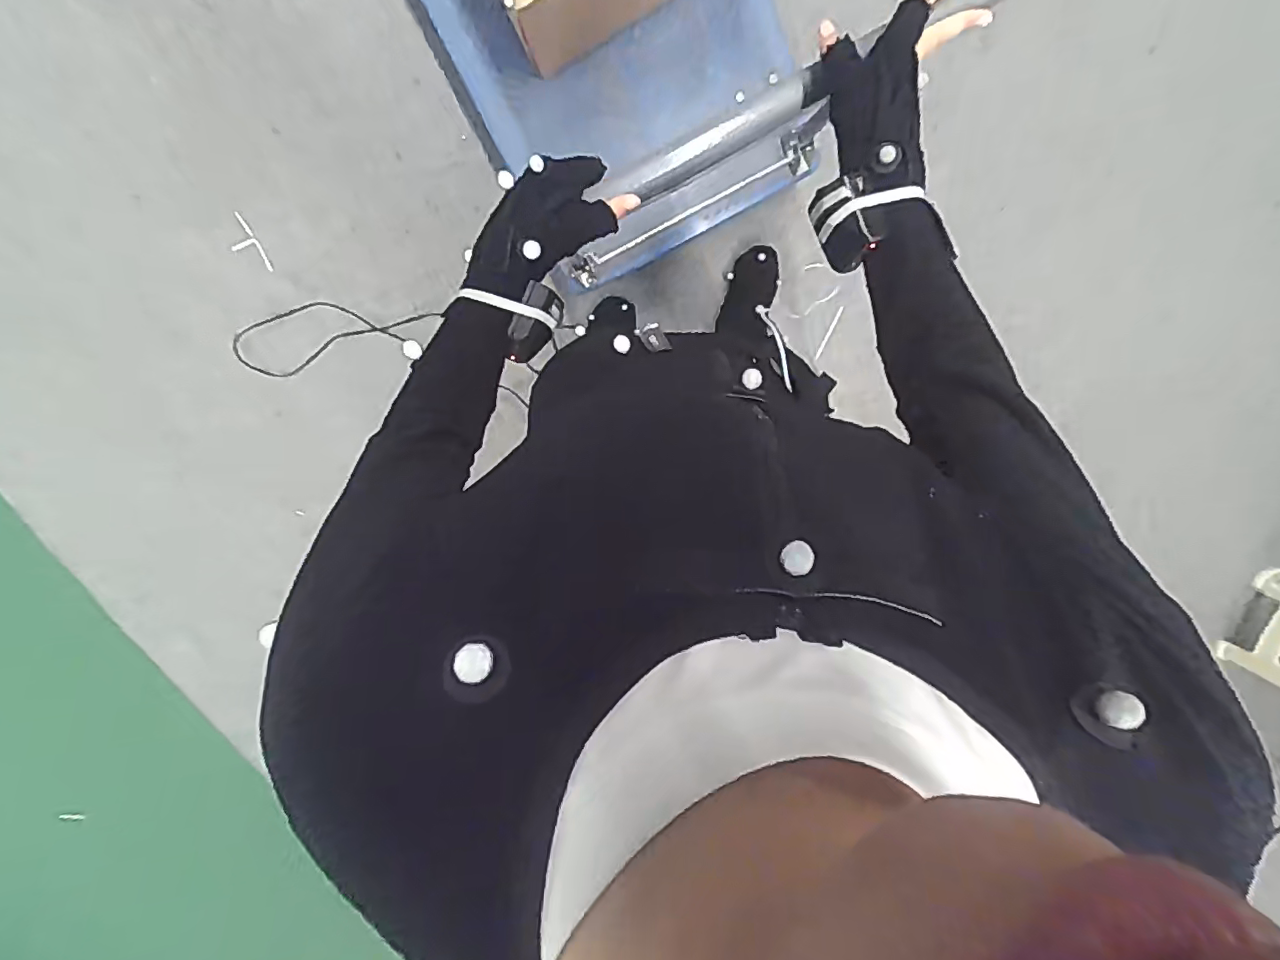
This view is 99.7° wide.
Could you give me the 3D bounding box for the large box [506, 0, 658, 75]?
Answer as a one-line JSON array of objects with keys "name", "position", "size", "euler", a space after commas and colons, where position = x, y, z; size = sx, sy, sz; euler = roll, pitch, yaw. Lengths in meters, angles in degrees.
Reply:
[{"name": "large box", "position": [-0.072, -0.919, 0.808], "size": [0.408, 0.320, 0.320], "euler": [-27, 110, 9]}]
